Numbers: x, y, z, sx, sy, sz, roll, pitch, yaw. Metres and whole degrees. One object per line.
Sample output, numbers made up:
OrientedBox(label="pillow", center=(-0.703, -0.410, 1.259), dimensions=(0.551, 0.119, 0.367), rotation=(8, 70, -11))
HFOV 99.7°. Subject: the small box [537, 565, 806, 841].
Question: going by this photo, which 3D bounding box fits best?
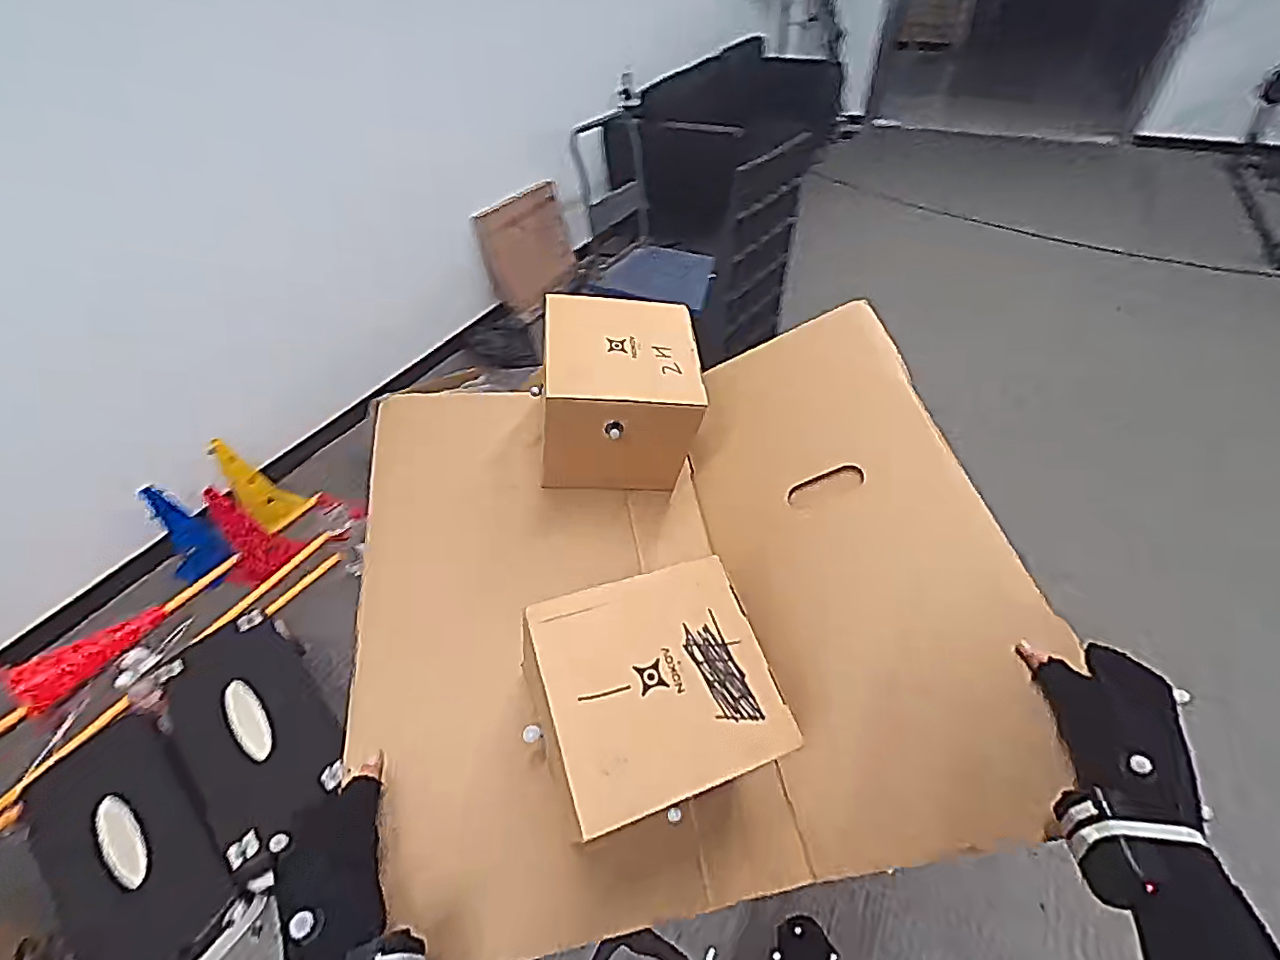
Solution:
OrientedBox(label="small box", center=(0.010, 0.200, 0.488), dimensions=(0.179, 0.176, 0.168), rotation=(-11, 60, -18))
